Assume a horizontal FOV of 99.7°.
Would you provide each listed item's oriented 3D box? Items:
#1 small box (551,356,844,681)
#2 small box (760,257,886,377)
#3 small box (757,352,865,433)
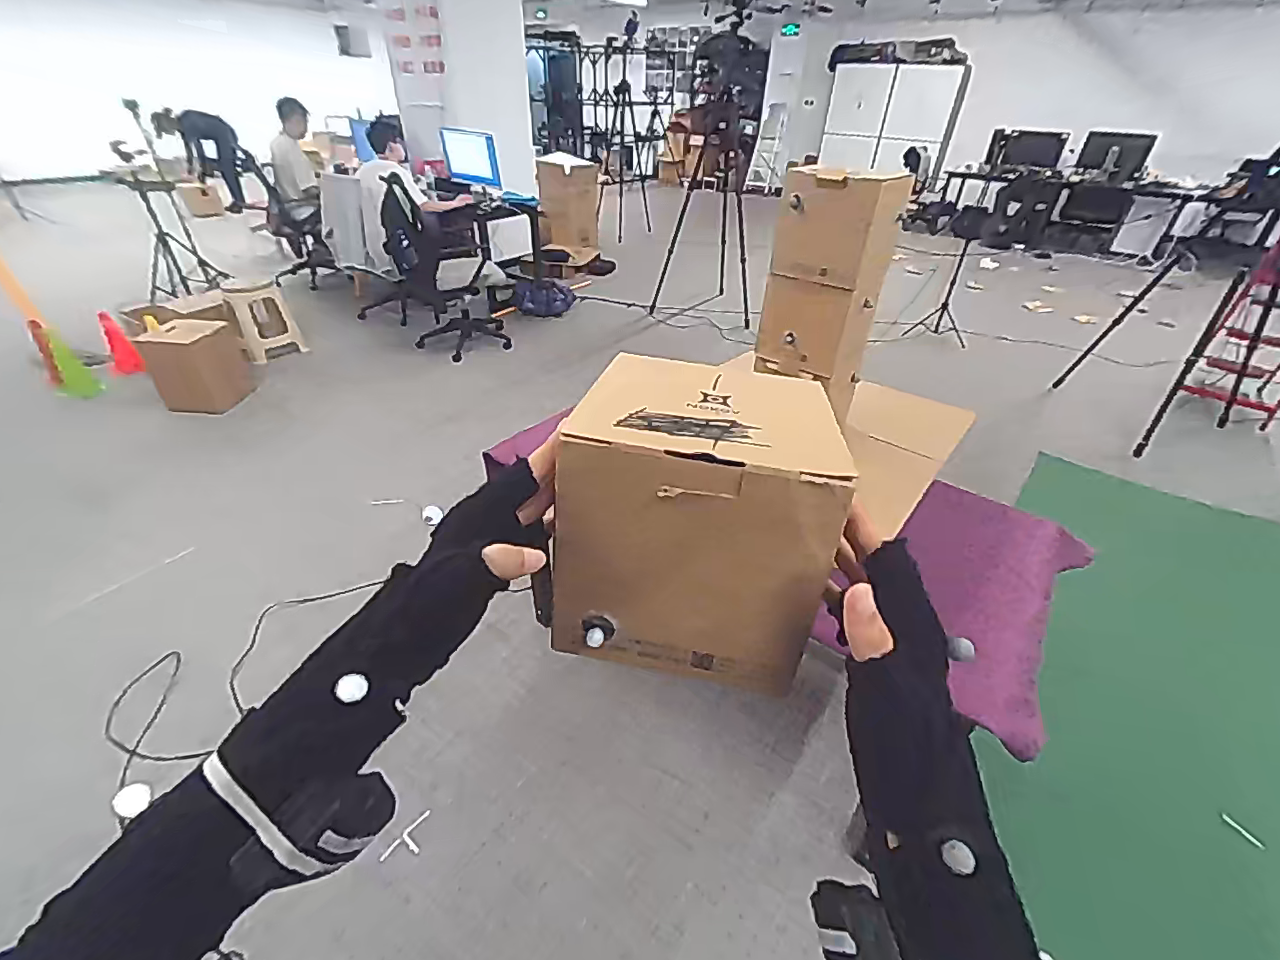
[{"bbox_3d":[0.038,0.020,0.407,0.168,0.176,0.179,9,29,6],"label":"small box"},{"bbox_3d":[0.353,-0.324,1.065,0.168,0.176,0.179,26,42,29],"label":"small box"},{"bbox_3d":[0.352,-0.193,1.163,0.168,0.176,0.179,27,42,31],"label":"small box"}]
